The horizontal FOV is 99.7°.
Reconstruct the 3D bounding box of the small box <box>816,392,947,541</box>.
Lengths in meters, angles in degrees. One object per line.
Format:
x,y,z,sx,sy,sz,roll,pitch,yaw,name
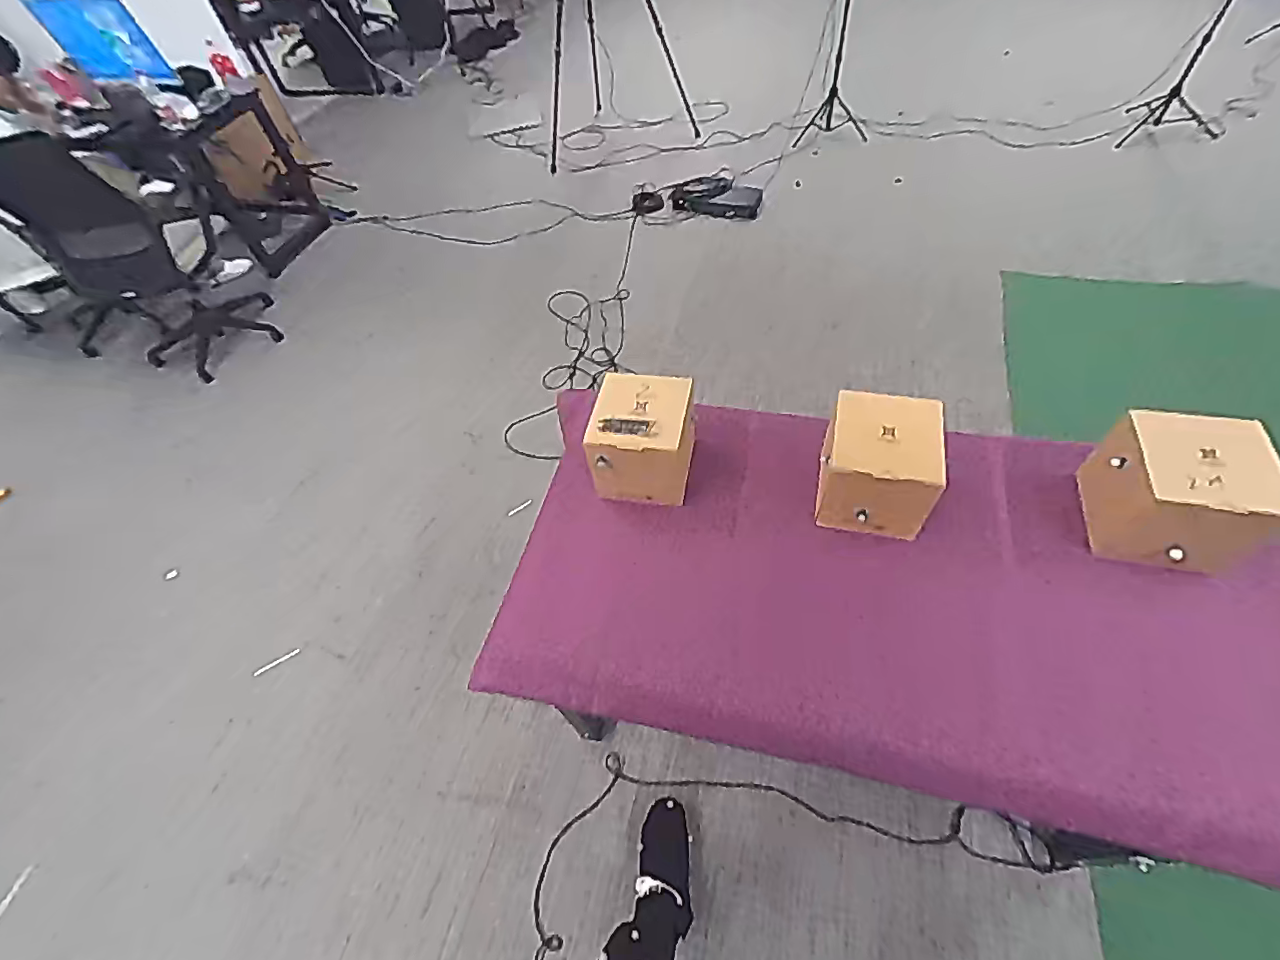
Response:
0.405,-0.021,0.926,0.168,0.176,0.179,10,57,13,small box

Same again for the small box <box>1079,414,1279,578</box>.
0.822,0.026,0.836,0.168,0.176,0.179,9,56,16,small box
